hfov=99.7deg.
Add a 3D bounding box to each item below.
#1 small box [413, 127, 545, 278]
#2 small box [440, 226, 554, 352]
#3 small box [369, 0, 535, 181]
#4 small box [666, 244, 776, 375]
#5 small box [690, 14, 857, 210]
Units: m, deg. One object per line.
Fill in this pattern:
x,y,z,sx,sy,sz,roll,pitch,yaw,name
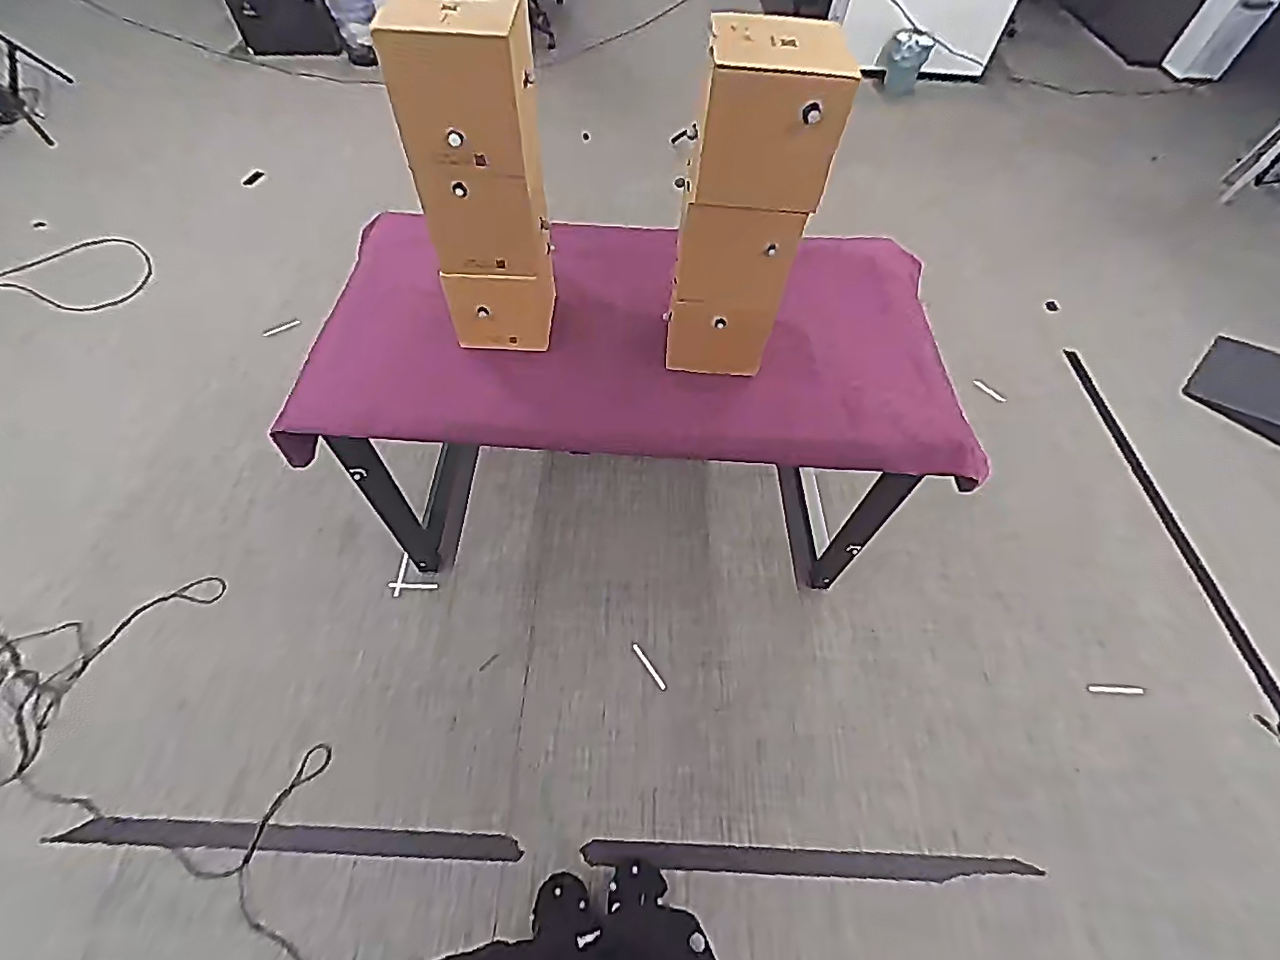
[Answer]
-0.250,-0.458,0.889,0.168,0.176,0.179,0,55,-2,small box
-0.258,-0.361,1.021,0.168,0.176,0.179,1,56,-2,small box
-0.242,-0.547,0.751,0.168,0.176,0.179,1,57,-2,small box
0.143,-0.314,1.011,0.179,0.176,0.168,4,57,-1,small box
0.167,-0.491,0.734,0.179,0.176,0.168,4,57,0,small box
